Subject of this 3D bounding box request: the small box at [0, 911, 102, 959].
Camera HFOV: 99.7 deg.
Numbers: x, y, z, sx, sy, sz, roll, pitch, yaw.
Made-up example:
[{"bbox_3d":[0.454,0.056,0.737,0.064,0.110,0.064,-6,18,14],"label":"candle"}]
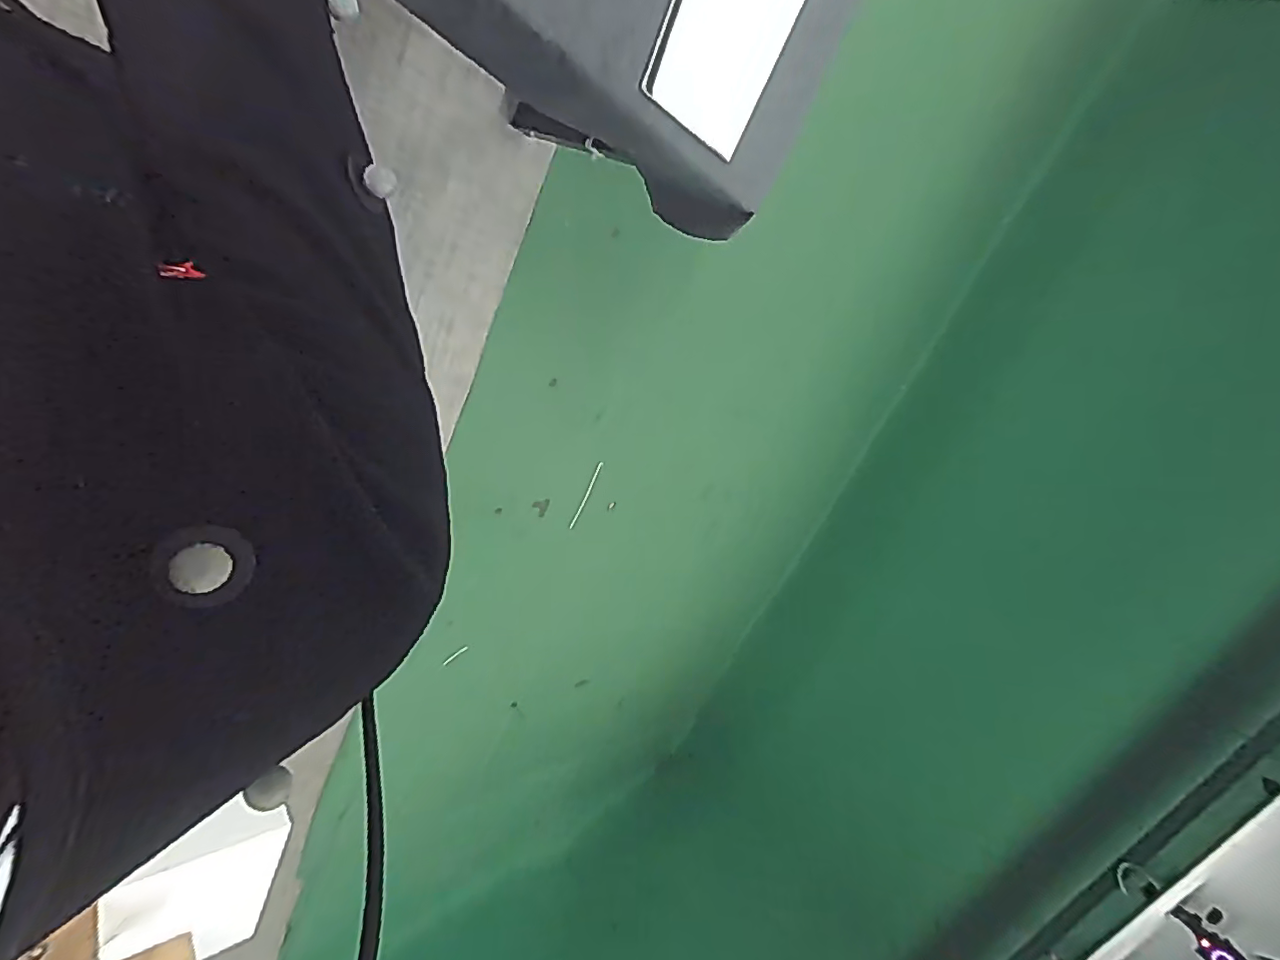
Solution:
[{"bbox_3d":[-0.968,0.838,0.845,0.168,0.176,0.179,6,116,-50],"label":"small box"}]
